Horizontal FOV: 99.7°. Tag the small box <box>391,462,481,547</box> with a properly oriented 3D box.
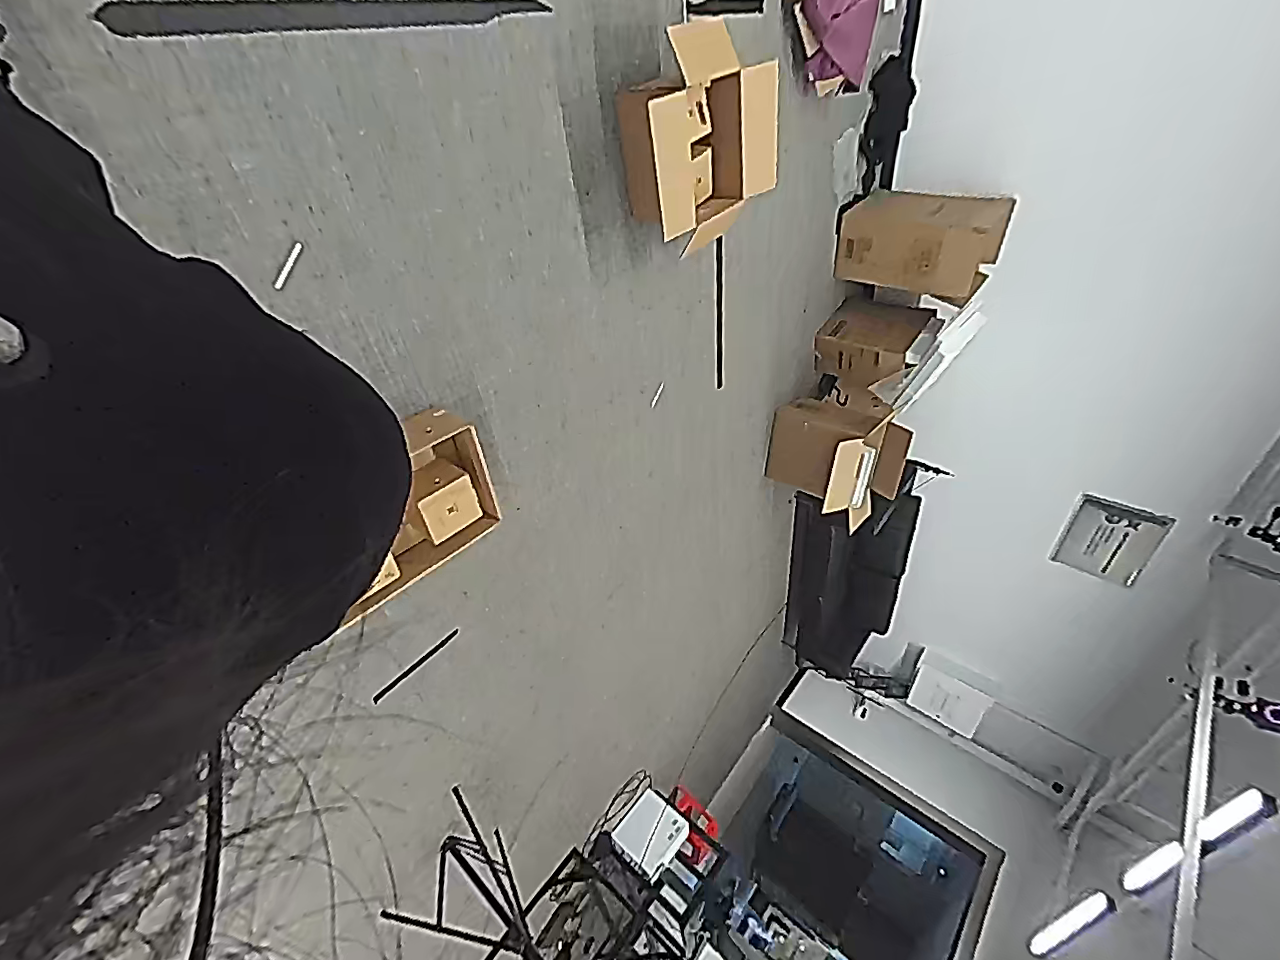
[{"bbox_3d":[-0.625,0.068,1.661,0.179,0.176,0.168,-37,134,-33],"label":"small box"}]
